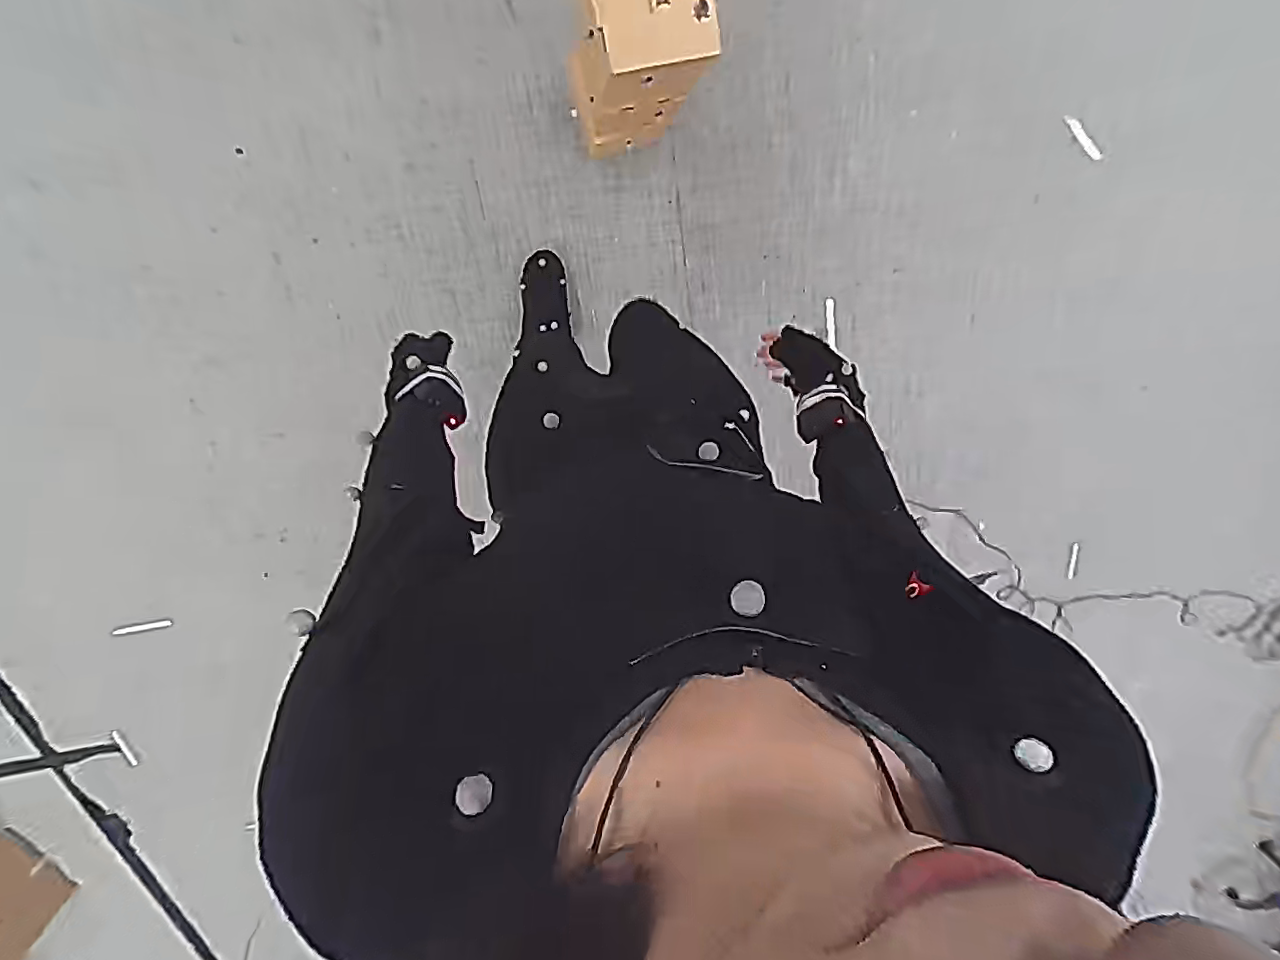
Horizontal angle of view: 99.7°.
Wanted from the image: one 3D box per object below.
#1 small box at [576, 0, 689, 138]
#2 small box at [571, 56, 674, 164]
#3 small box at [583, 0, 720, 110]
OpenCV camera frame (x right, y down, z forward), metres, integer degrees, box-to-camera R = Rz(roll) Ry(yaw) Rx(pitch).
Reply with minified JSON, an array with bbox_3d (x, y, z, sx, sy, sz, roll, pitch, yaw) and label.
[{"bbox_3d":[-0.018,-0.758,1.001,0.168,0.176,0.179,-15,111,-4],"label":"small box"},{"bbox_3d":[-0.043,-0.801,1.156,0.179,0.176,0.168,-18,112,-1],"label":"small box"},{"bbox_3d":[0.011,-0.709,0.847,0.179,0.176,0.168,-14,112,-4],"label":"small box"}]
